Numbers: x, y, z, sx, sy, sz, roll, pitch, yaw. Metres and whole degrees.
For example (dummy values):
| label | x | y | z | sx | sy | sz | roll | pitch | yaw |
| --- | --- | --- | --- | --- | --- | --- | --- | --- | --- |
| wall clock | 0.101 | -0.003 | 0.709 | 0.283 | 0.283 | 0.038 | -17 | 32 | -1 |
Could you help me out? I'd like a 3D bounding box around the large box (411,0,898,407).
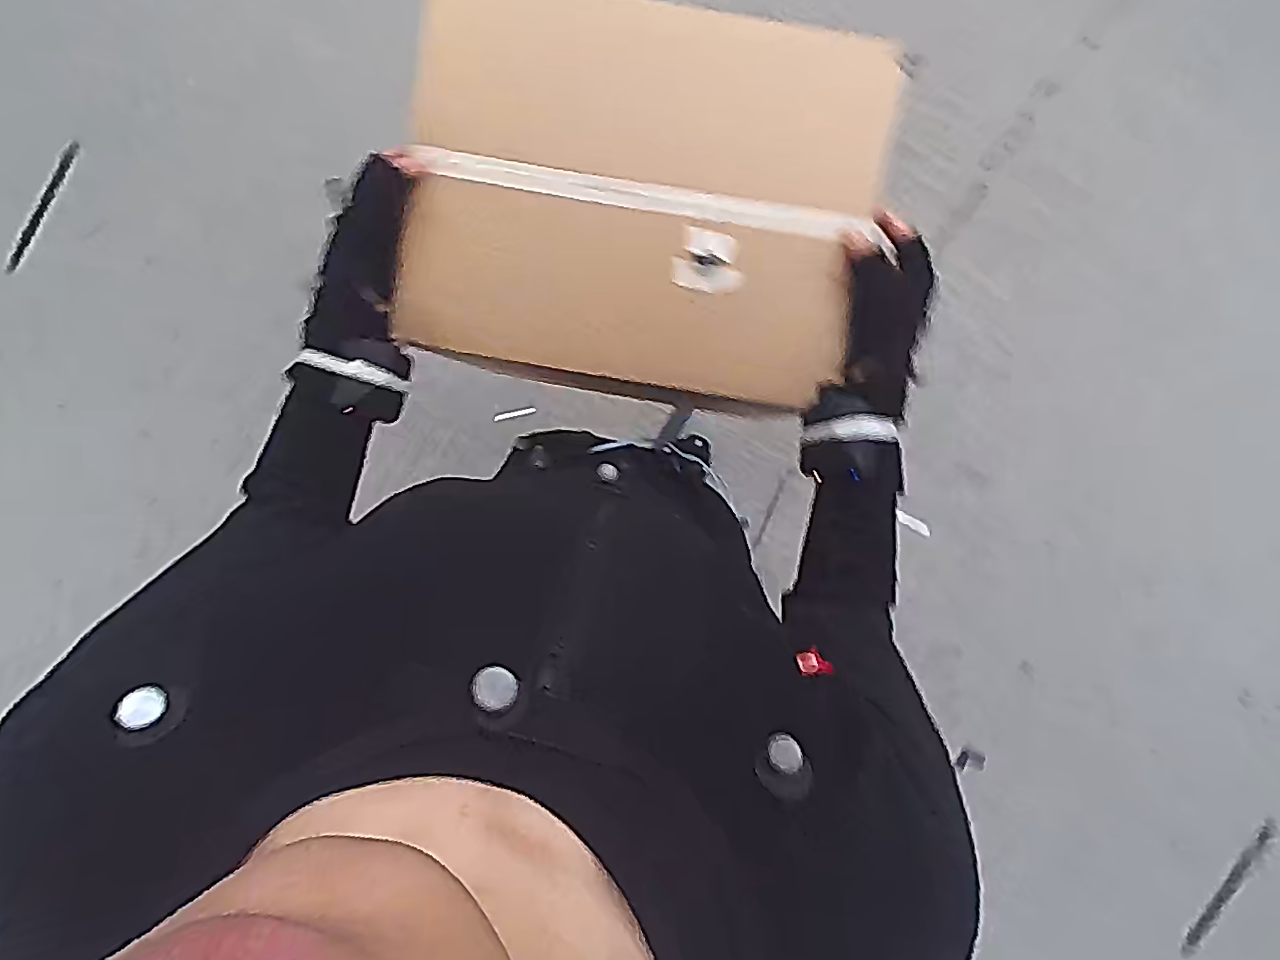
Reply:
| label | x | y | z | sx | sy | sz | roll | pitch | yaw |
| --- | --- | --- | --- | --- | --- | --- | --- | --- | --- |
| large box | 0.005 | -0.269 | 0.628 | 0.408 | 0.320 | 0.320 | 9 | 97 | -1 |
